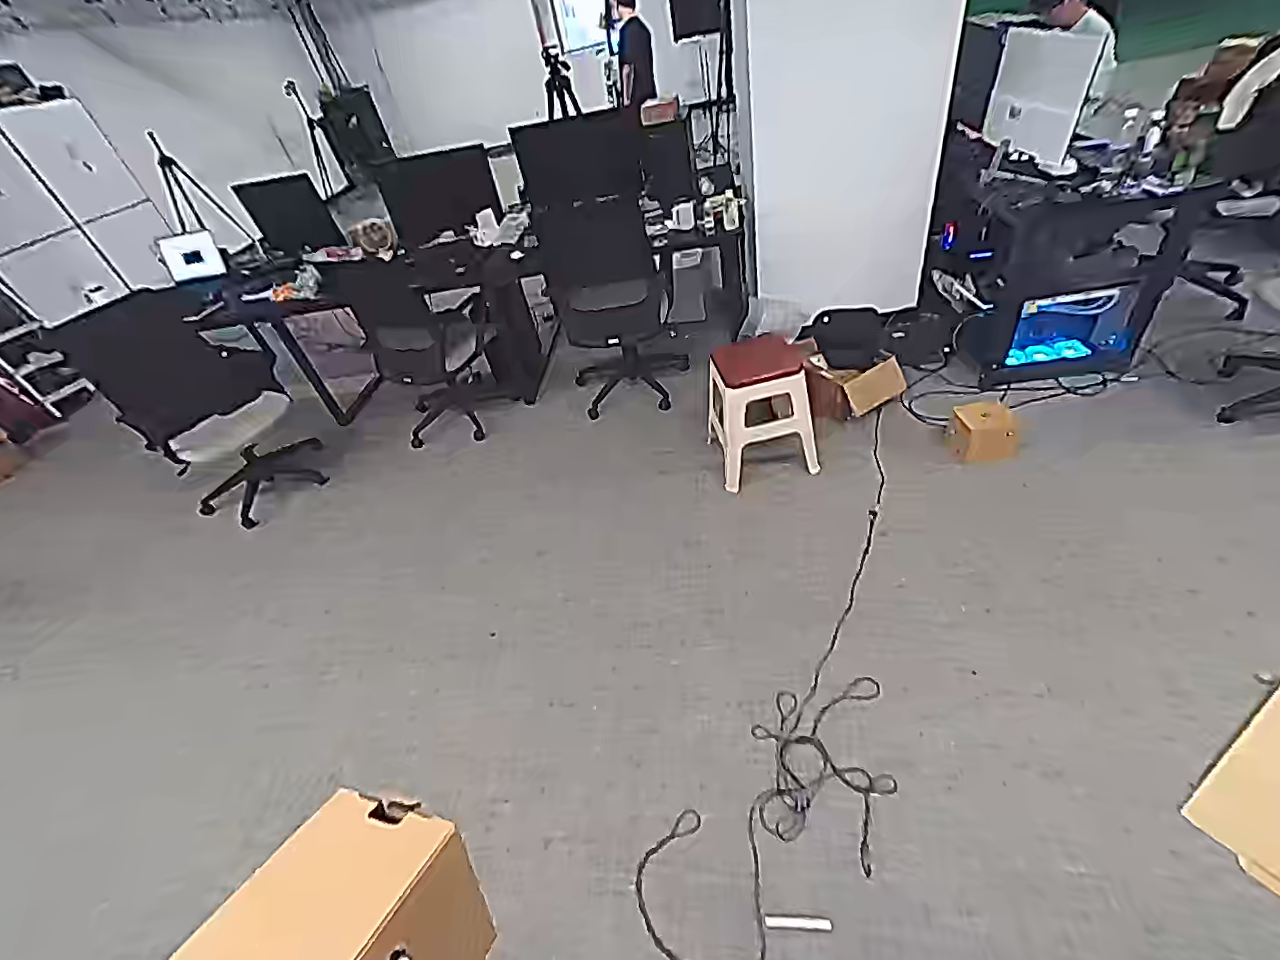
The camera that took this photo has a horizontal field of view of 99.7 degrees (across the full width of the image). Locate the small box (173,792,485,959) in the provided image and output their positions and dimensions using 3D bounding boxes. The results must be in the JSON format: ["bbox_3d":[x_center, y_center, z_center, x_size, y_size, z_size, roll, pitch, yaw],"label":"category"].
[{"bbox_3d":[-0.273,0.446,0.513,0.168,0.176,0.179,-1,18,24],"label":"small box"}]
